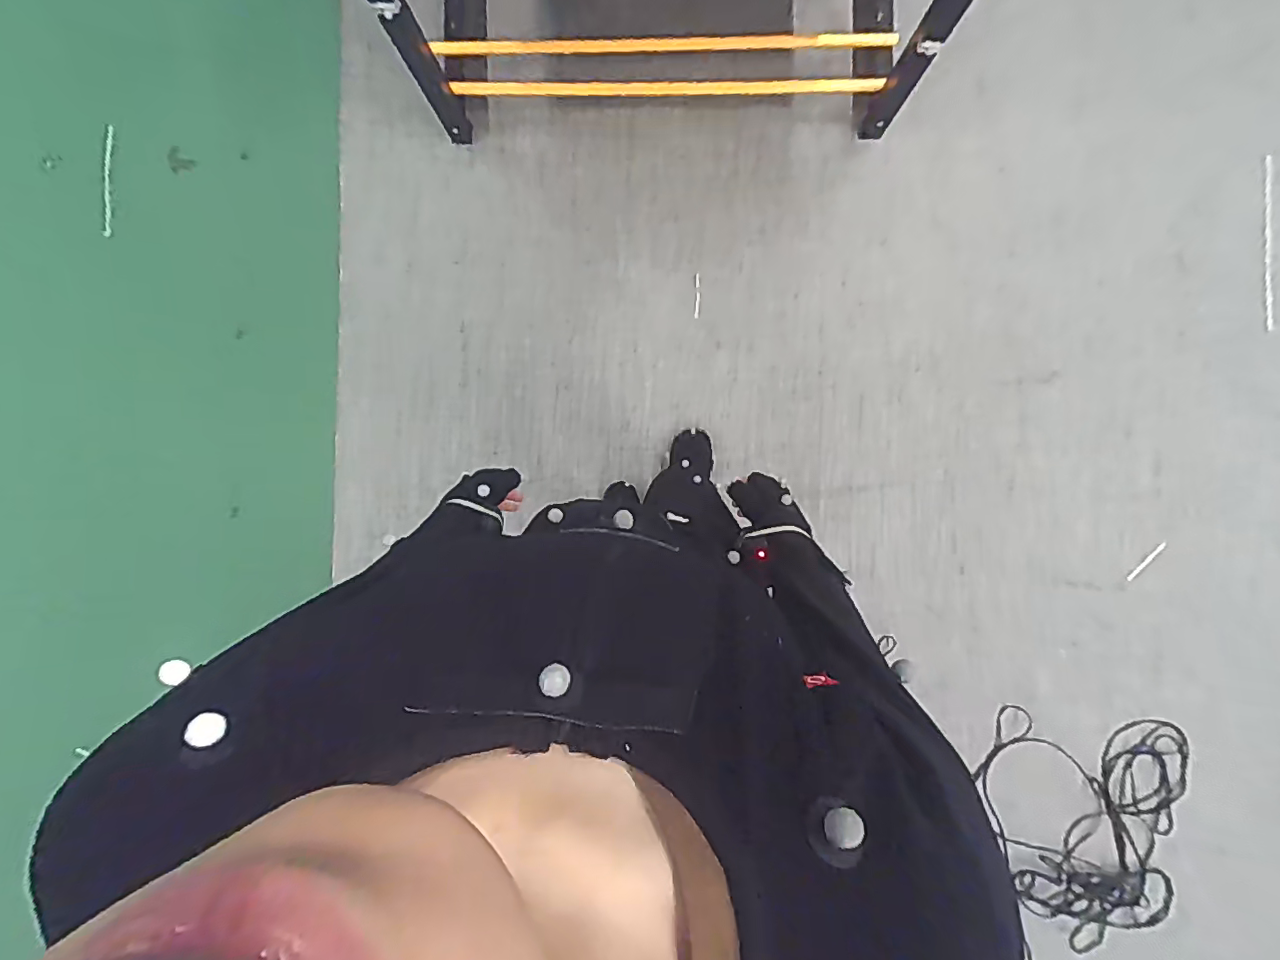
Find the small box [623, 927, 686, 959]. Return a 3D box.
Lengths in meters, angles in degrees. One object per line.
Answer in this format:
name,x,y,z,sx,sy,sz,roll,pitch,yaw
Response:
small box,0.036,1.318,1.399,0.168,0.176,0.179,2,89,1
